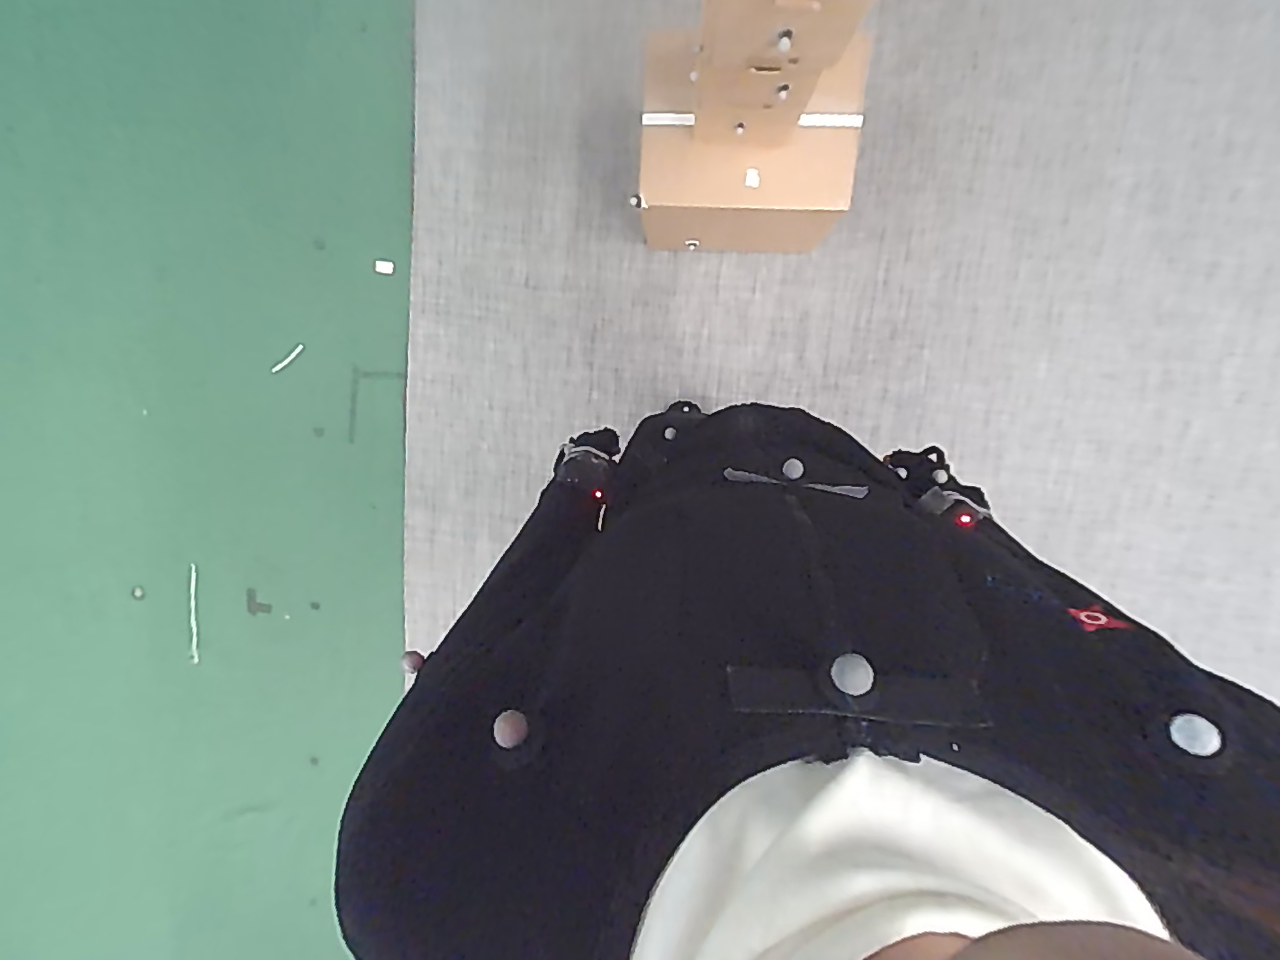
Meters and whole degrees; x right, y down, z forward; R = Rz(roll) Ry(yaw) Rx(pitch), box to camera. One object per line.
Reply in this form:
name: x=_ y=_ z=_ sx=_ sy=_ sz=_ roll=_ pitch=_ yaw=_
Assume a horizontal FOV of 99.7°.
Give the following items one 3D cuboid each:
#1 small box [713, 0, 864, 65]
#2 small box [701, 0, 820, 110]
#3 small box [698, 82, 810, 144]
small box: x=0.172 y=-0.605 z=0.612 sx=0.168 sy=0.176 sz=0.179 roll=5 pitch=105 yaw=4
small box: x=0.175 y=-0.654 z=0.768 sx=0.168 sy=0.176 sz=0.179 roll=4 pitch=104 yaw=4
small box: x=0.192 y=-0.694 z=0.924 sx=0.179 sy=0.176 sz=0.168 roll=3 pitch=105 yaw=5
